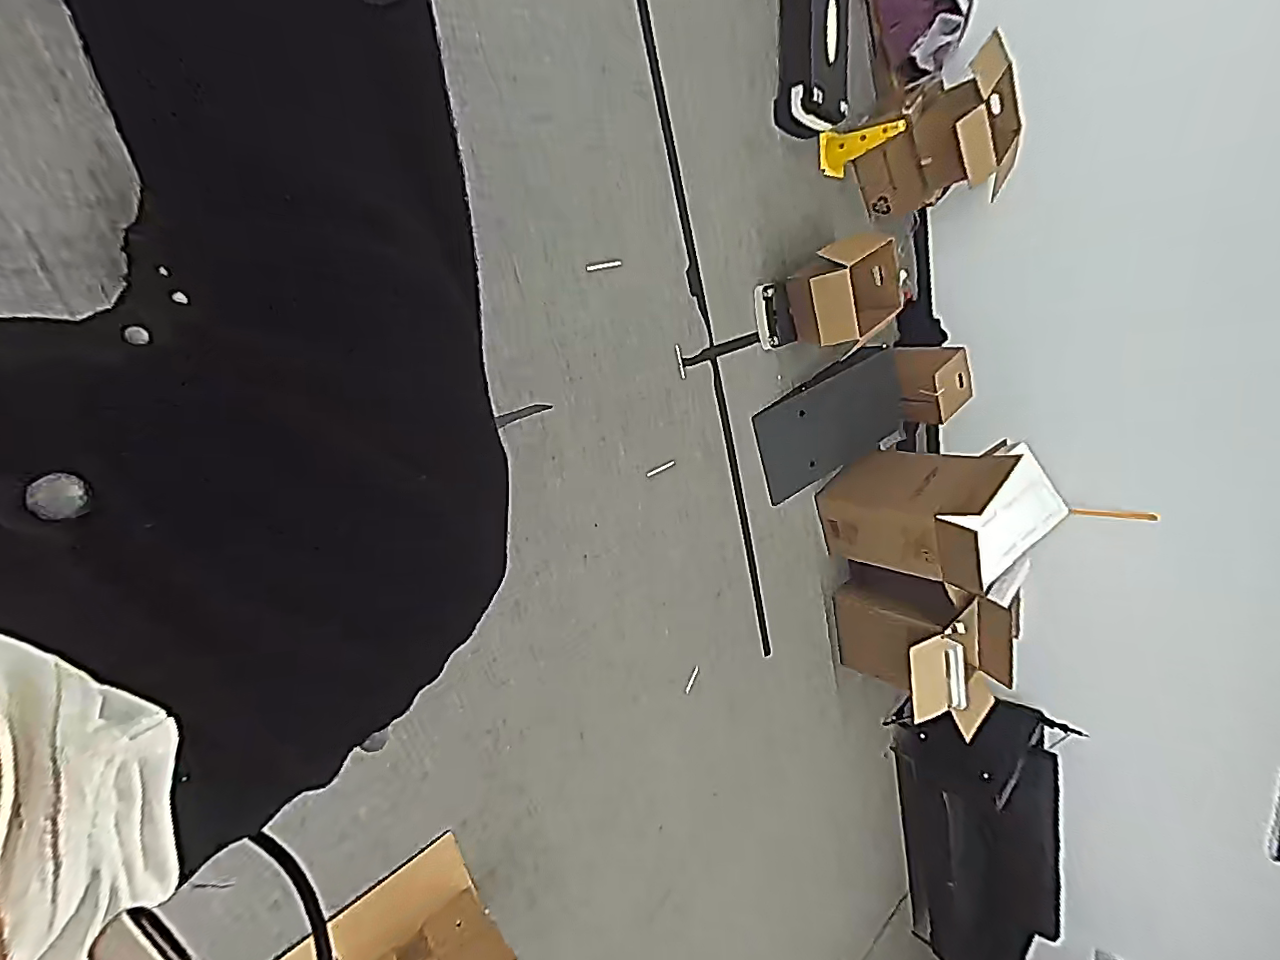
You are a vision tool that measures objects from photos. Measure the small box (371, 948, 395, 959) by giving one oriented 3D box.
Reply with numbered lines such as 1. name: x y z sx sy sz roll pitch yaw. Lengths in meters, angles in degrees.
1. small box: -0.796 1.580 1.617 0.179 0.176 0.168 -23 110 -35

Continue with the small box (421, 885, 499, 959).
1. small box: -0.595 1.496 1.769 0.179 0.176 0.168 -26 113 -36
